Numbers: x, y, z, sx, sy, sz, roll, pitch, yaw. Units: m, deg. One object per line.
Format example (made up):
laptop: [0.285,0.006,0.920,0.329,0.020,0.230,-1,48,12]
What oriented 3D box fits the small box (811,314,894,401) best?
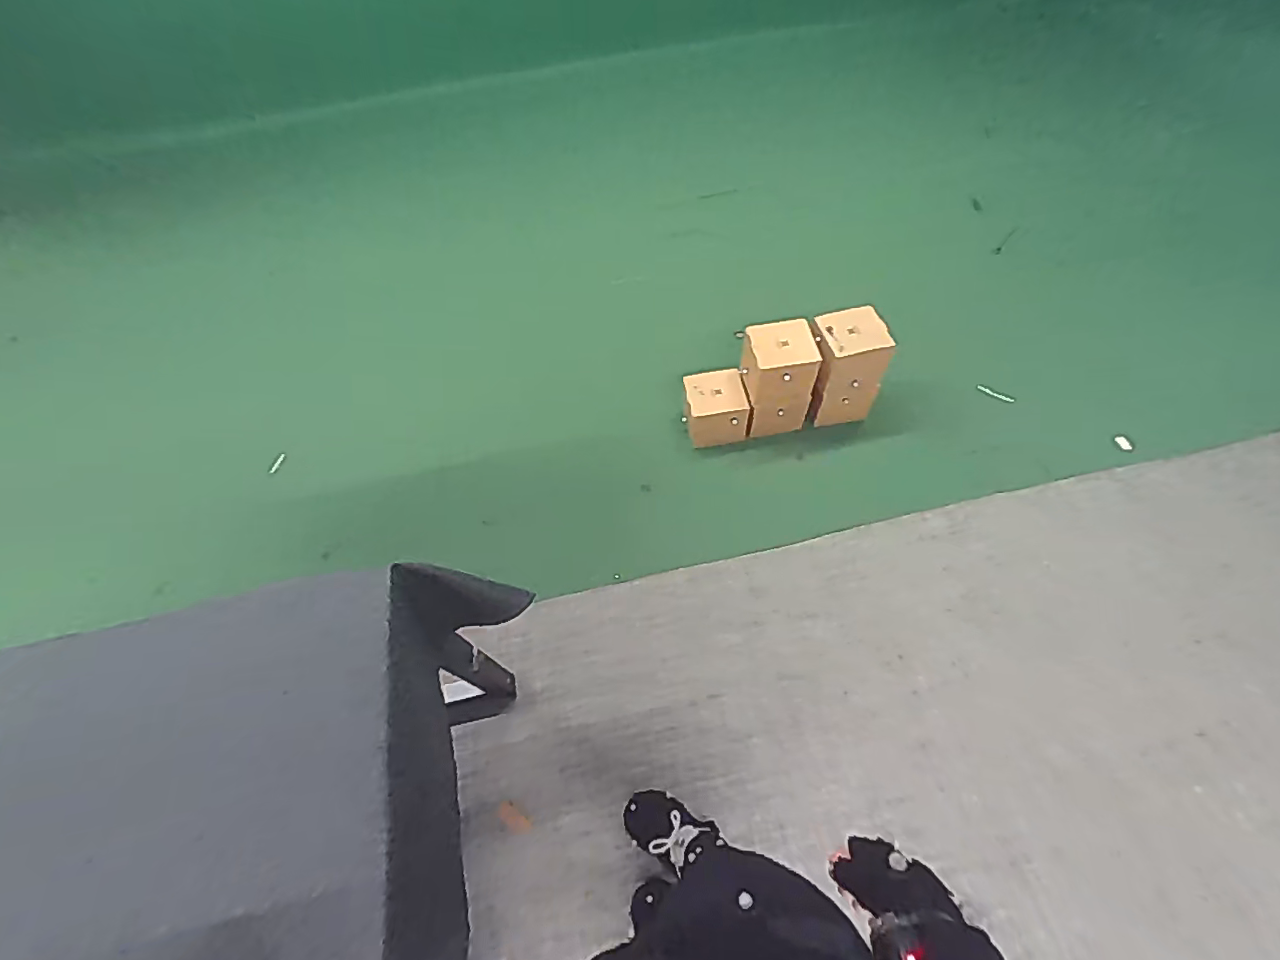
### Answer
small box: [0.605,-0.357,1.592,0.179,0.176,0.168,-12,58,-4]

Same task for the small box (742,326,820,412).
small box: [0.406,-0.322,1.588,0.179,0.176,0.168,-9,59,1]
